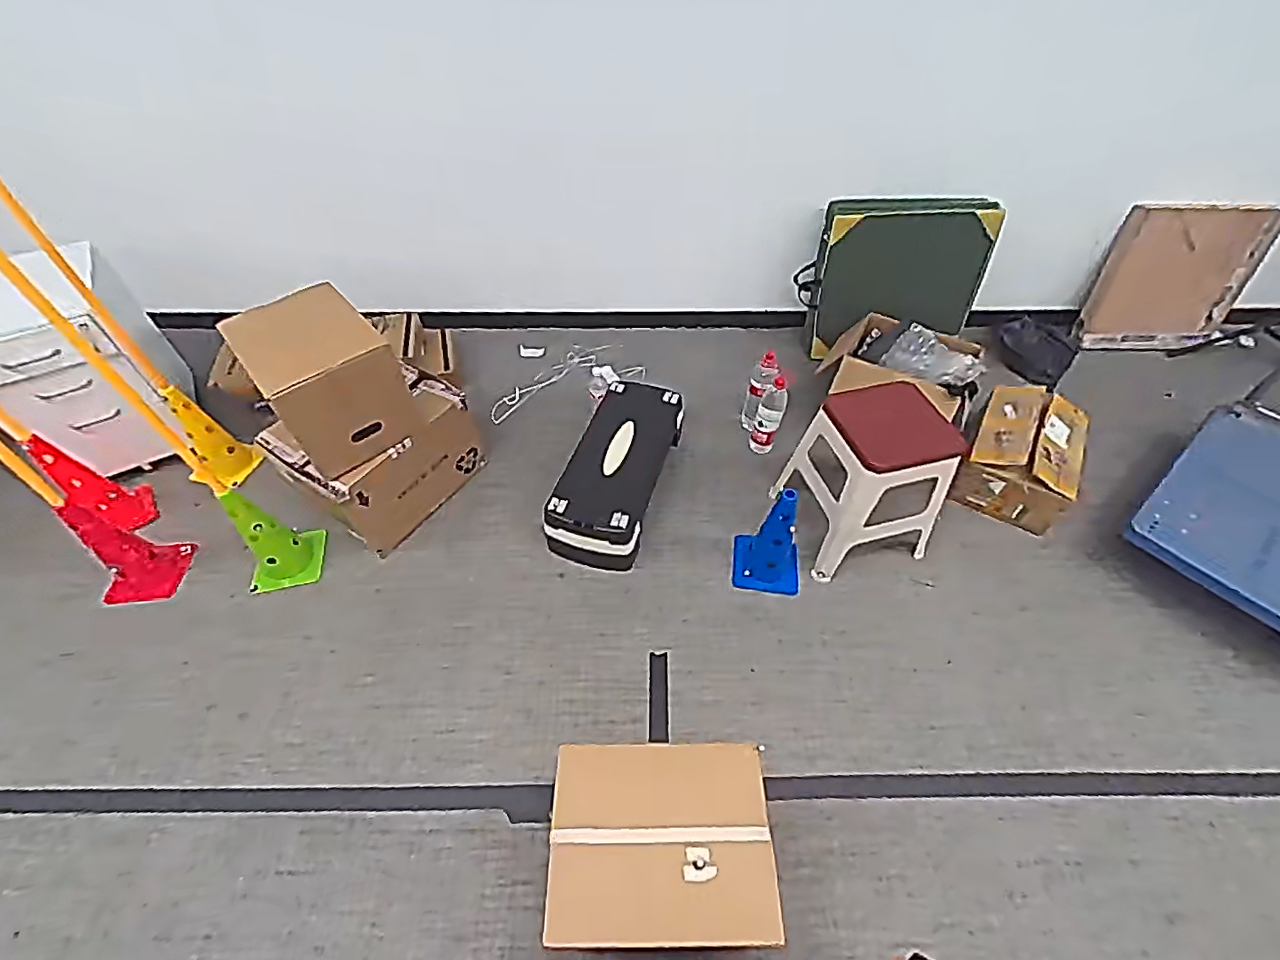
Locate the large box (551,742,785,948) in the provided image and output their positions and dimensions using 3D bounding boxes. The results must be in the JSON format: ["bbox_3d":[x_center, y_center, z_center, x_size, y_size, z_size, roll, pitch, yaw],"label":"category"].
[{"bbox_3d":[0.041,0.749,1.111,0.408,0.320,0.320,0,50,-1],"label":"large box"}]
